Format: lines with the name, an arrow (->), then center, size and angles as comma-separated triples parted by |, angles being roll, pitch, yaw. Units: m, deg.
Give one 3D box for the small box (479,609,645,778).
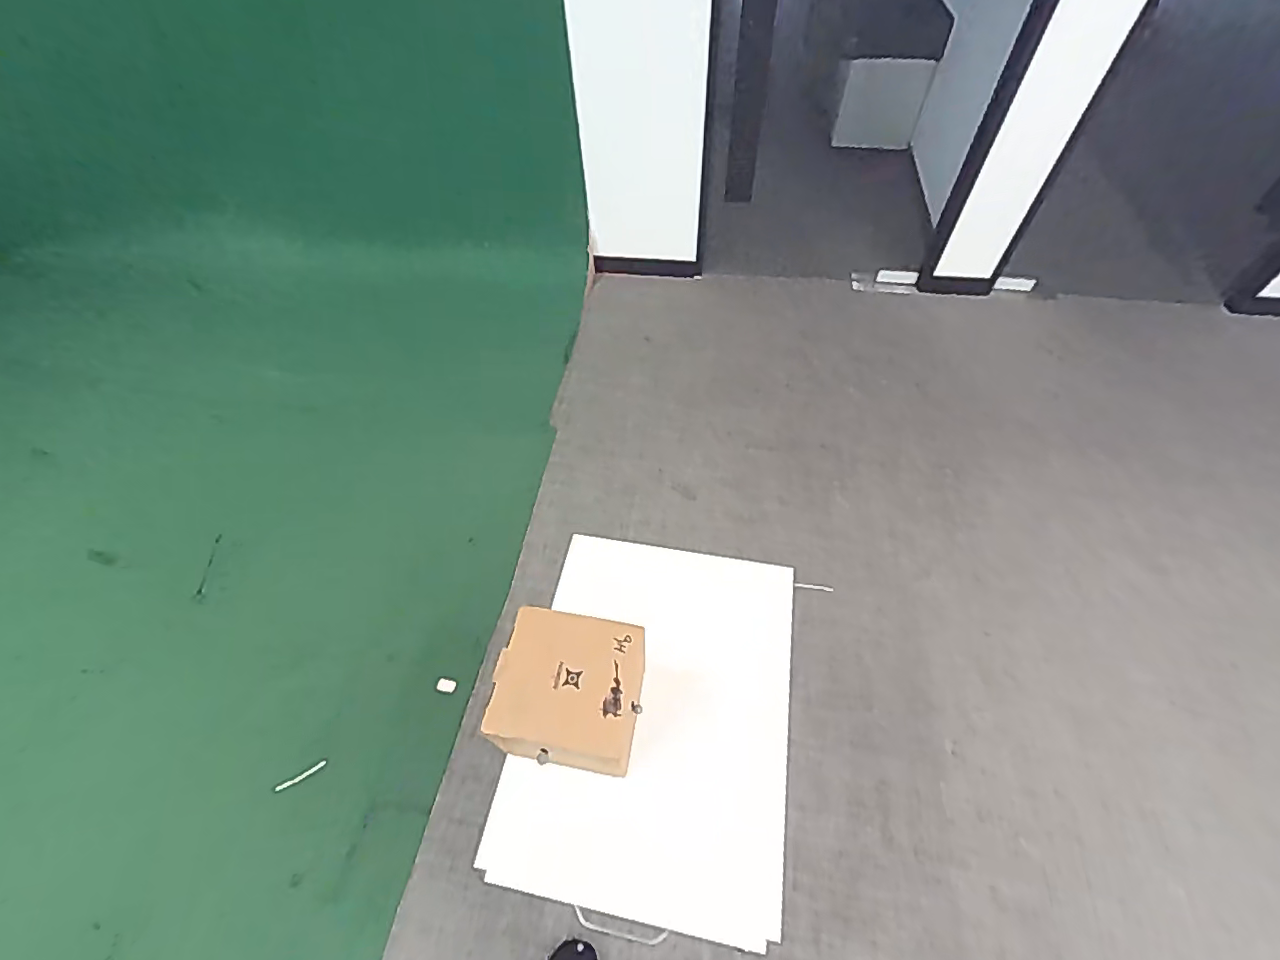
small box -> -0.092, 0.298, 0.746 | 0.179, 0.176, 0.168 | 8, 56, 7
